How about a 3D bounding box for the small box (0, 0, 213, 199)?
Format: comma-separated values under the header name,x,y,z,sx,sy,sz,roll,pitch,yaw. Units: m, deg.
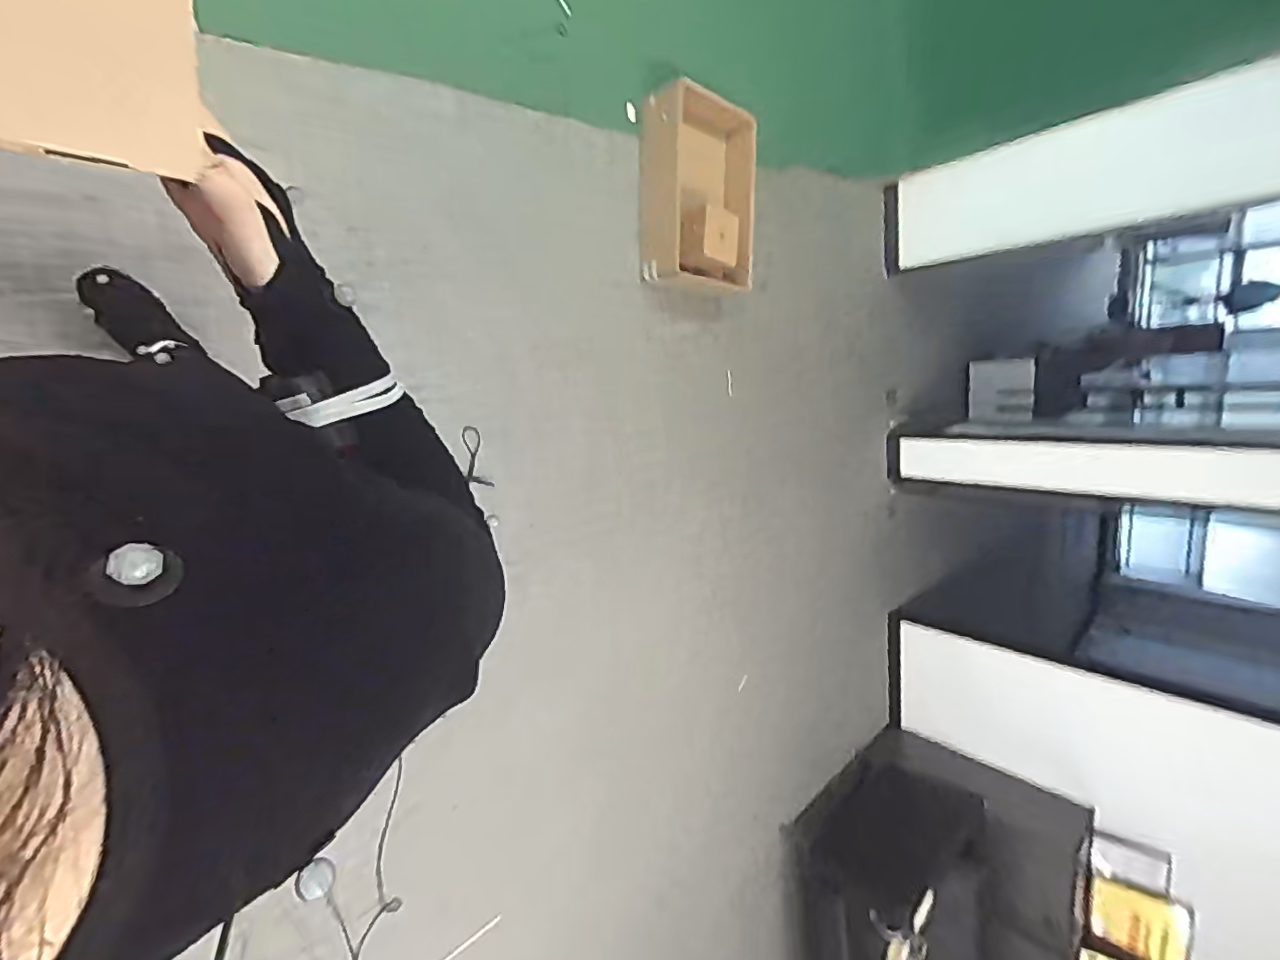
name,x,y,z,sx,sy,sz,roll,pitch,yaw
small box,-0.317,-0.258,0.245,0.168,0.176,0.179,-13,131,-46
